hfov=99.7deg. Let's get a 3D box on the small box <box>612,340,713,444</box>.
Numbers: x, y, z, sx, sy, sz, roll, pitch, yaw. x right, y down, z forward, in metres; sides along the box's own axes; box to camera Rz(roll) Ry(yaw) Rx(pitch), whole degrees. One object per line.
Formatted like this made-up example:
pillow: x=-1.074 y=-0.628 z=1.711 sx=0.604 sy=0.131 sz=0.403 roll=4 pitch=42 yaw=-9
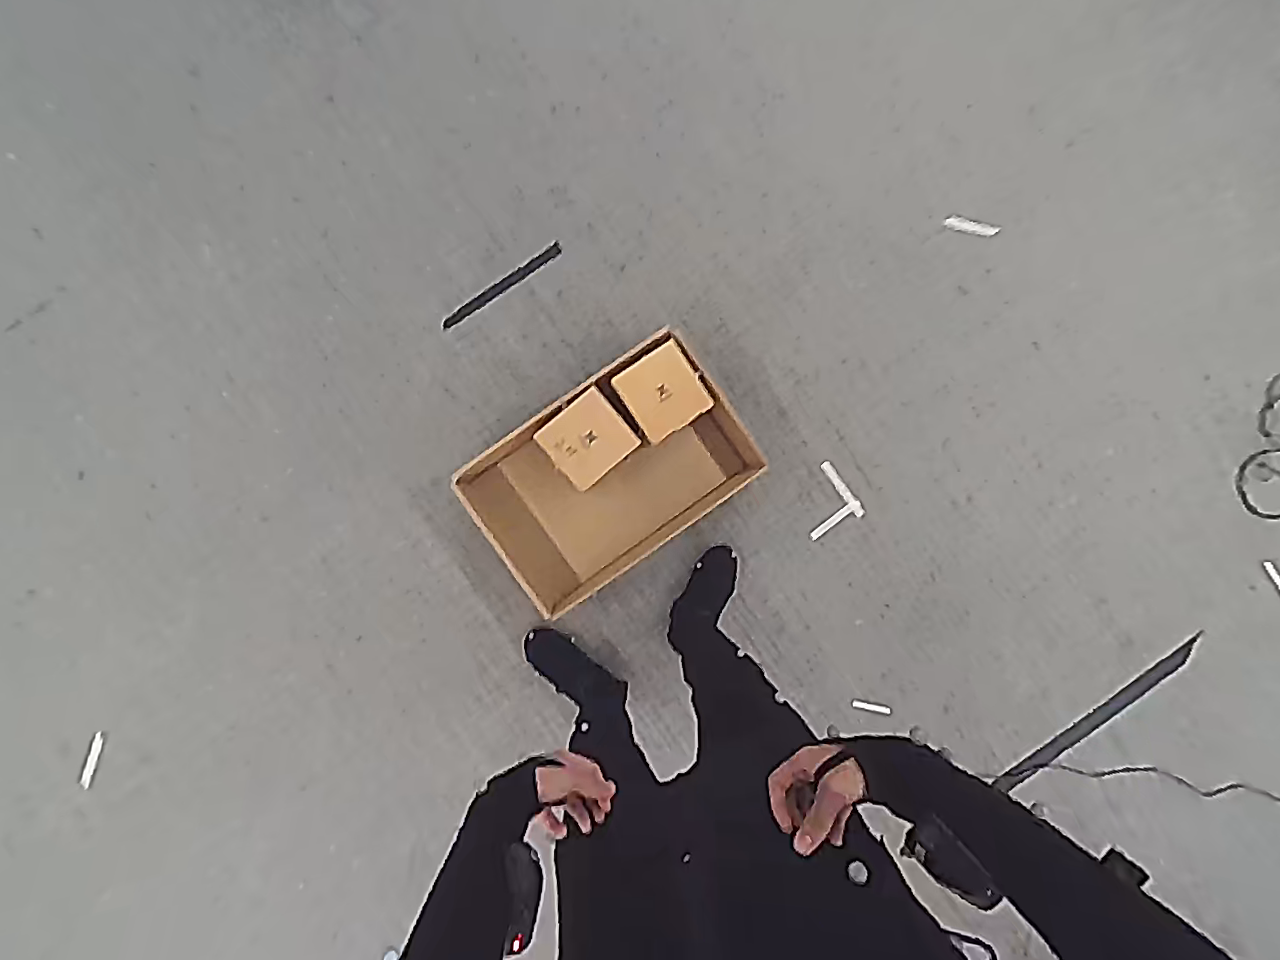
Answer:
small box: x=0.043 y=-0.196 z=1.269 sx=0.168 sy=0.176 sz=0.179 roll=-34 pitch=95 yaw=-2
